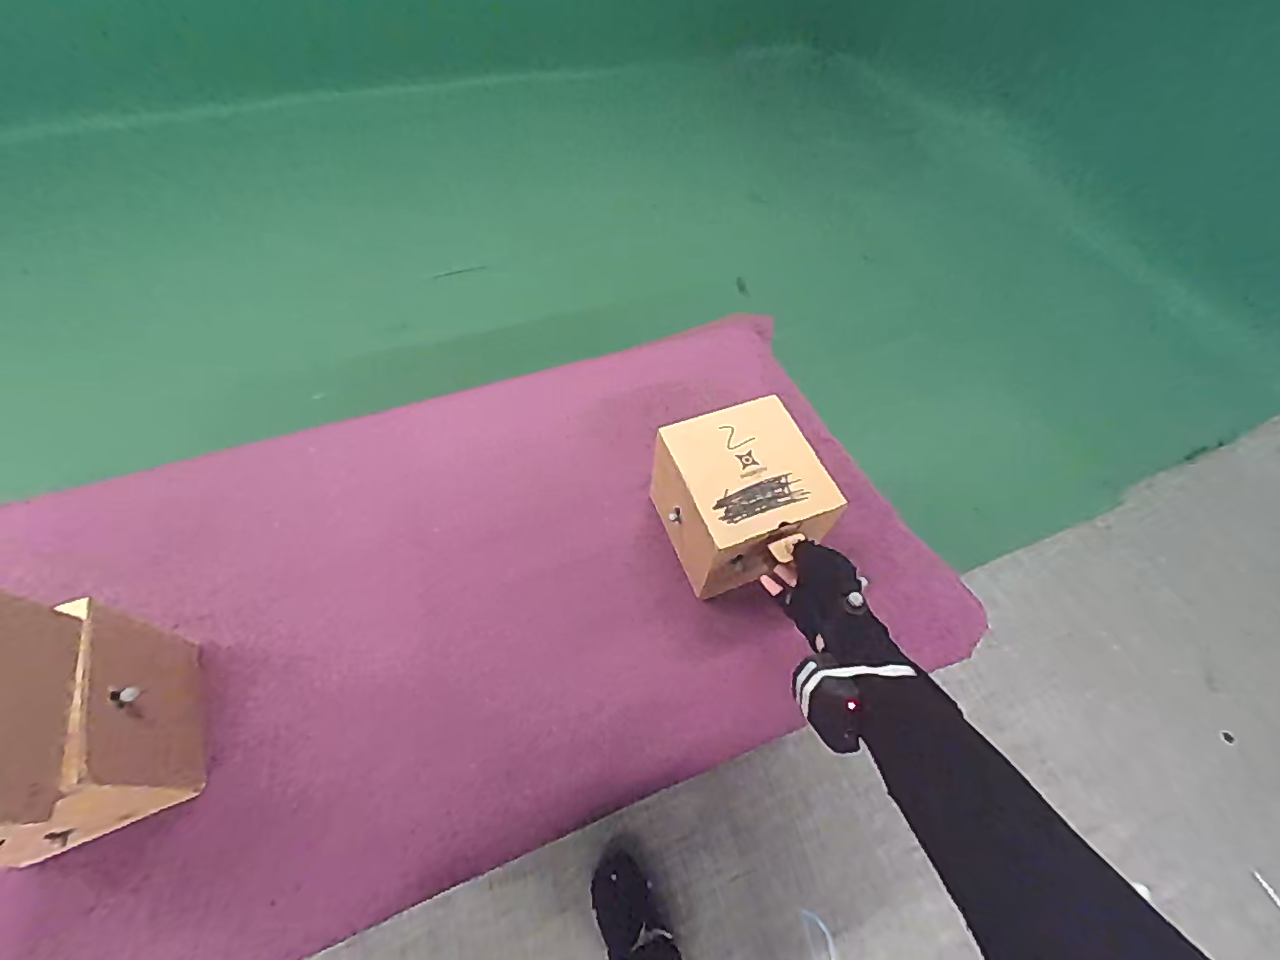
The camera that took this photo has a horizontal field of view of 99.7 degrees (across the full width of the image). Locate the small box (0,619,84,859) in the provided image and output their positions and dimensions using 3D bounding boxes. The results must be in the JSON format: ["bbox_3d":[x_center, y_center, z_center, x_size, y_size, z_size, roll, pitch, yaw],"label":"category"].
[{"bbox_3d":[-0.561,0.198,0.384,0.168,0.176,0.179,-15,61,-13],"label":"small box"}]

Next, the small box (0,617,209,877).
[{"bbox_3d":[-0.567,0.266,0.534,0.168,0.176,0.179,-20,63,-15],"label":"small box"}]
